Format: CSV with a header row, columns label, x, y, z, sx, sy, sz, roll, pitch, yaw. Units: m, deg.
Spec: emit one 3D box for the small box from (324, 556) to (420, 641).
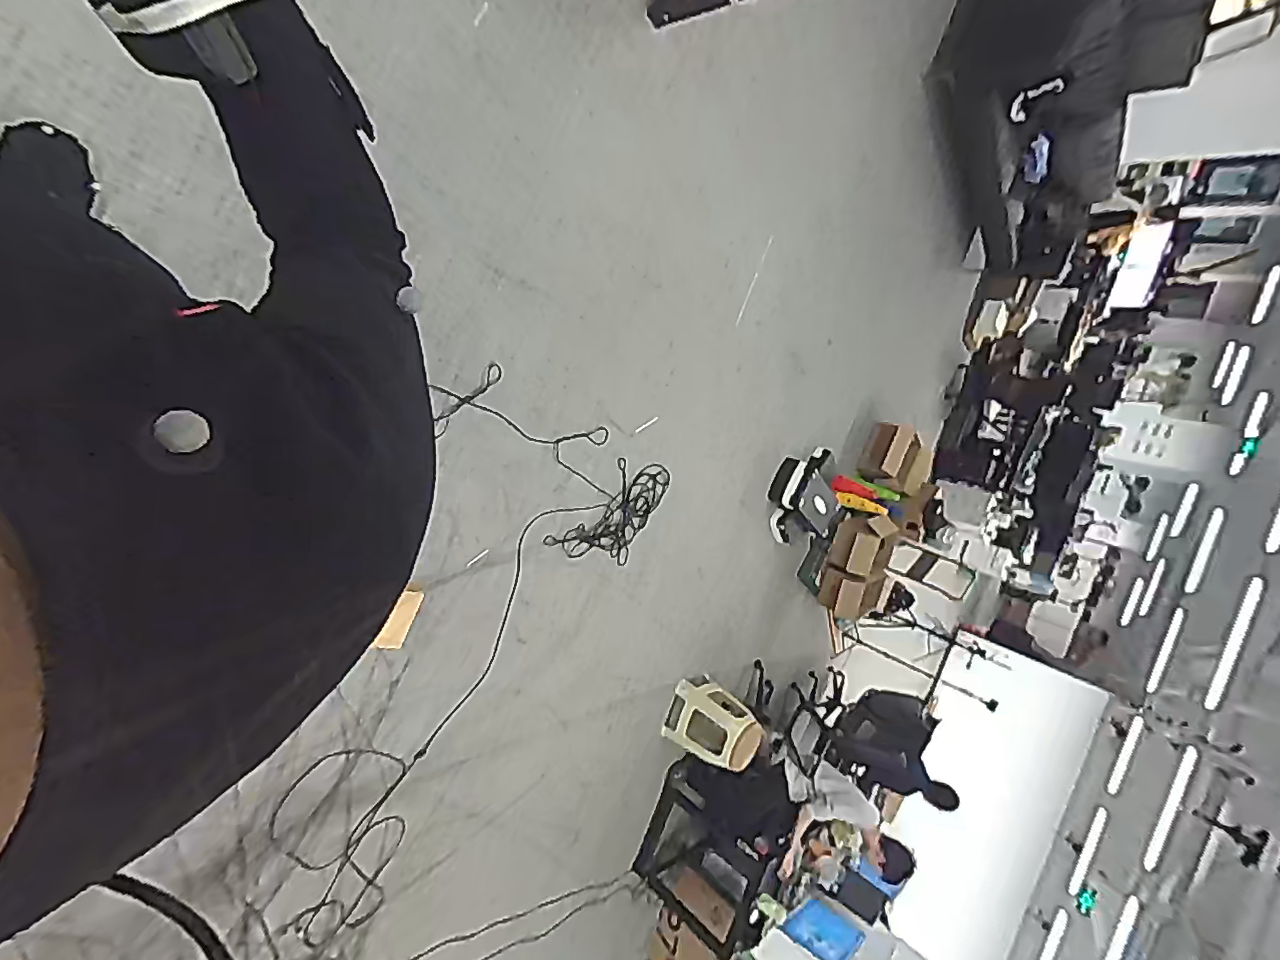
label,x,y,z,sx,sy,sz,roll,pitch,yaw
small box,-0.765,0.336,1.532,0.168,0.176,0.179,25,87,-51
